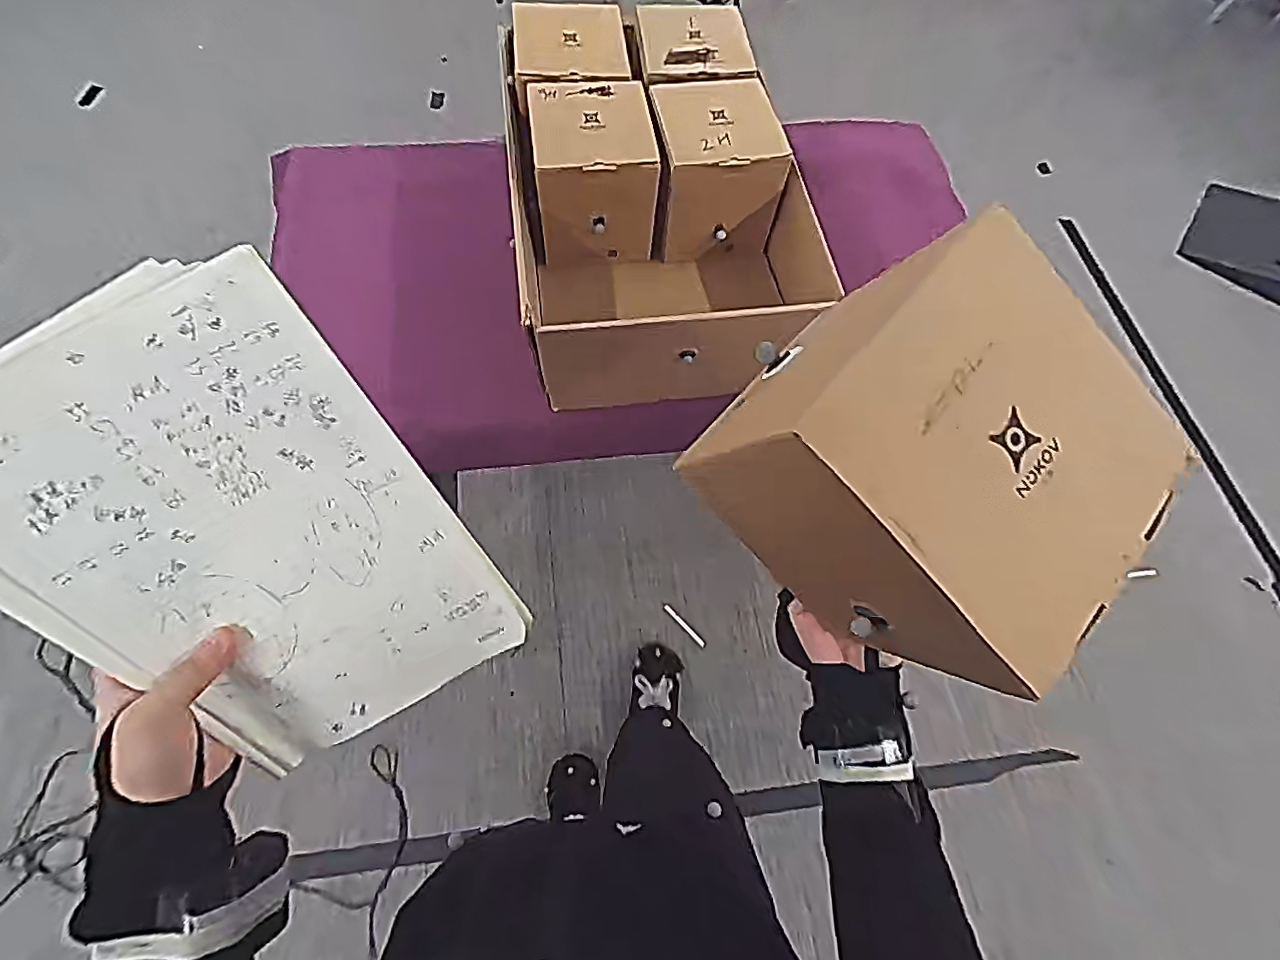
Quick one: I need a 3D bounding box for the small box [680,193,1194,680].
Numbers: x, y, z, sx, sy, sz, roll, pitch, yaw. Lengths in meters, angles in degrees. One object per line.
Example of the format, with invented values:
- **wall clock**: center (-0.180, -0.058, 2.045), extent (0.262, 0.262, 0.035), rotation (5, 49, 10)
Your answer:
- **small box**: center (0.155, -0.018, 0.331), extent (0.179, 0.176, 0.168), rotation (44, 77, -6)
